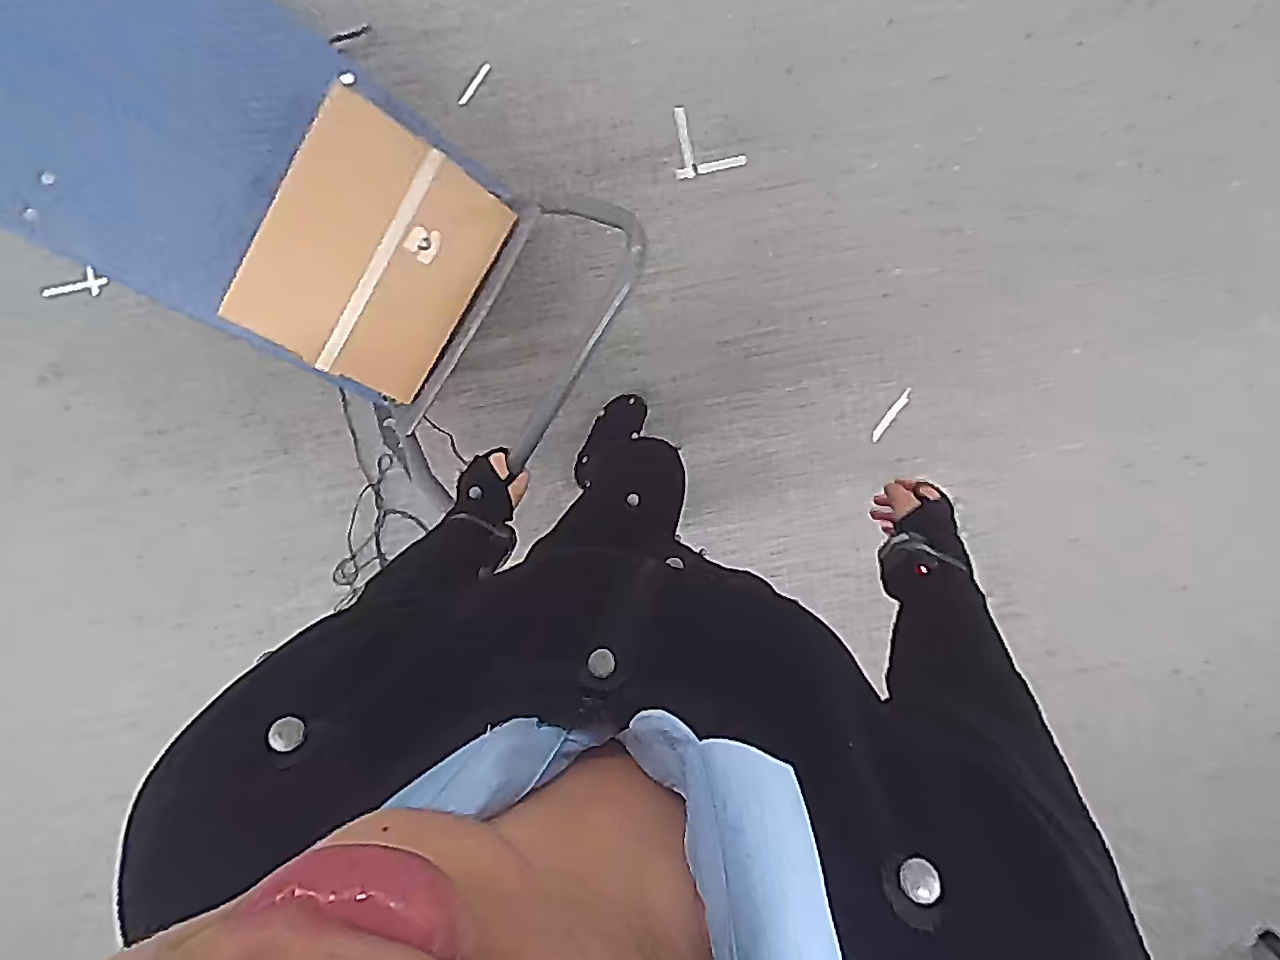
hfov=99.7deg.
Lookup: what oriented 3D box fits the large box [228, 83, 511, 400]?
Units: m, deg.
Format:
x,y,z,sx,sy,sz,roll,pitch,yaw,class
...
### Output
x,y,z,sx,sy,sz,roll,pitch,yaw,class
-0.507,-0.424,1.037,0.320,0.320,0.408,27,97,-35,large box
